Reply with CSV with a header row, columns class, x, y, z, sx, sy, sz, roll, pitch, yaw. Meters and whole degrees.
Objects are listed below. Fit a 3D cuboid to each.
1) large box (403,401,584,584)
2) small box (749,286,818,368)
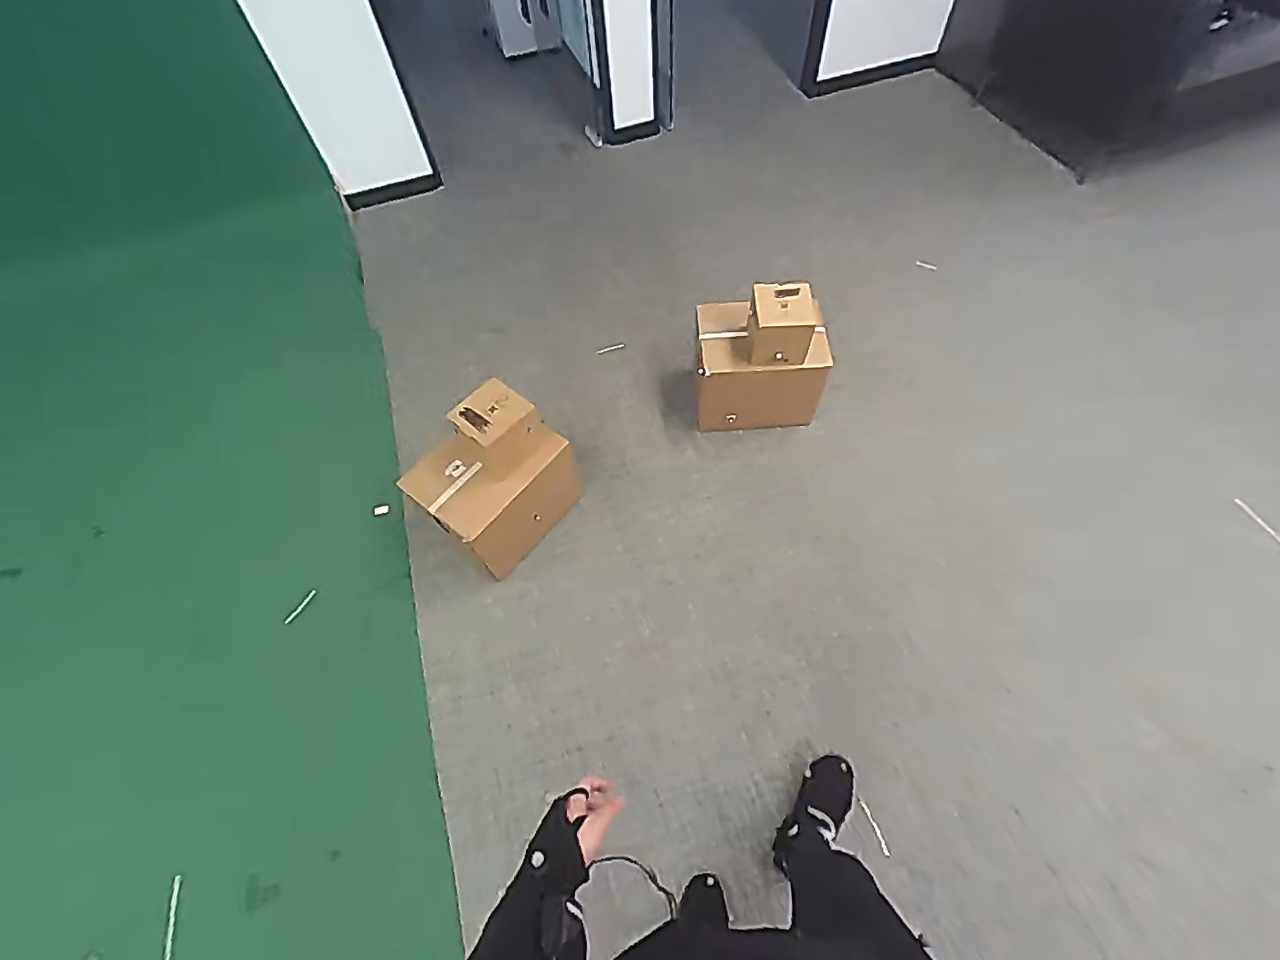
class,x,y,z,sx,sy,sz,roll,pitch,yaw
large box,-0.429,0.040,1.680,0.320,0.320,0.408,32,67,21
small box,0.427,-0.464,1.643,0.168,0.176,0.179,-1,61,3
